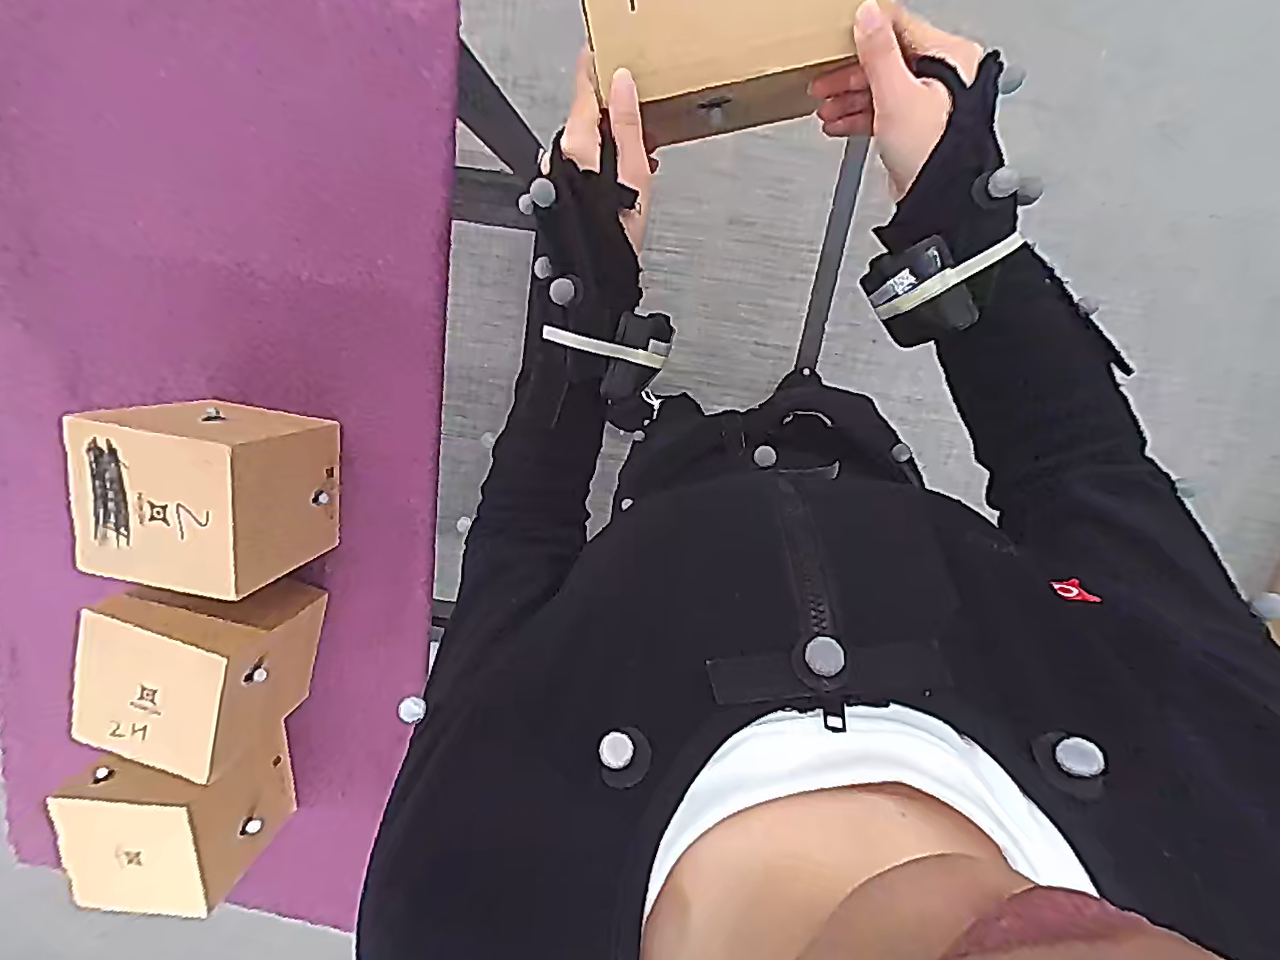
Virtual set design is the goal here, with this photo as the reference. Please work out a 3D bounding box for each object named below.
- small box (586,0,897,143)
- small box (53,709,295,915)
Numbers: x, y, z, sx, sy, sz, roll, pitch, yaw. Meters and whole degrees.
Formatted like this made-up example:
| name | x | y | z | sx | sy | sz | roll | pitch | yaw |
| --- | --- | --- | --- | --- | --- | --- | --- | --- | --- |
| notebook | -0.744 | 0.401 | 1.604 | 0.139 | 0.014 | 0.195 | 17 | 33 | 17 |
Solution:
| name | x | y | z | sx | sy | sz | roll | pitch | yaw |
| --- | --- | --- | --- | --- | --- | --- | --- | --- | --- |
| small box | 0.051 | -0.349 | 0.364 | 0.179 | 0.176 | 0.168 | -10 | 112 | 4 |
| small box | -0.595 | 0.430 | 0.722 | 0.179 | 0.176 | 0.168 | 1 | 103 | 4 |
